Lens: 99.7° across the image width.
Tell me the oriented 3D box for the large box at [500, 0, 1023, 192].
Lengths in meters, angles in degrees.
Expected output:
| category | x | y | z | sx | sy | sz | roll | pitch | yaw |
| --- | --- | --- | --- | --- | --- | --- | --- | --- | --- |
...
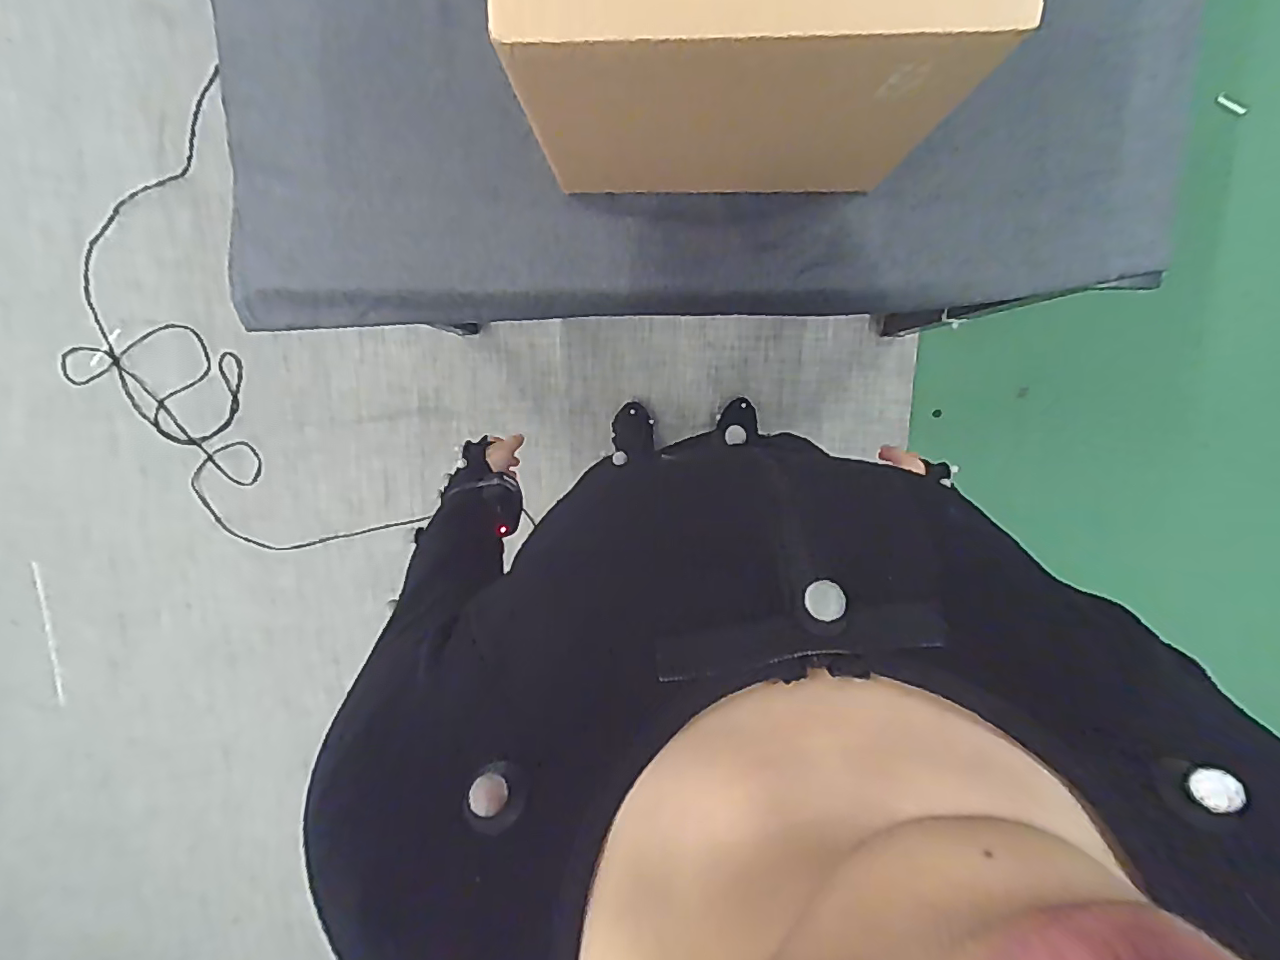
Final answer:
| category | x | y | z | sx | sy | sz | roll | pitch | yaw |
| --- | --- | --- | --- | --- | --- | --- | --- | --- | --- |
| large box | 0.090 | -0.511 | 0.539 | 0.408 | 0.320 | 0.320 | 0 | 99 | 2 |
